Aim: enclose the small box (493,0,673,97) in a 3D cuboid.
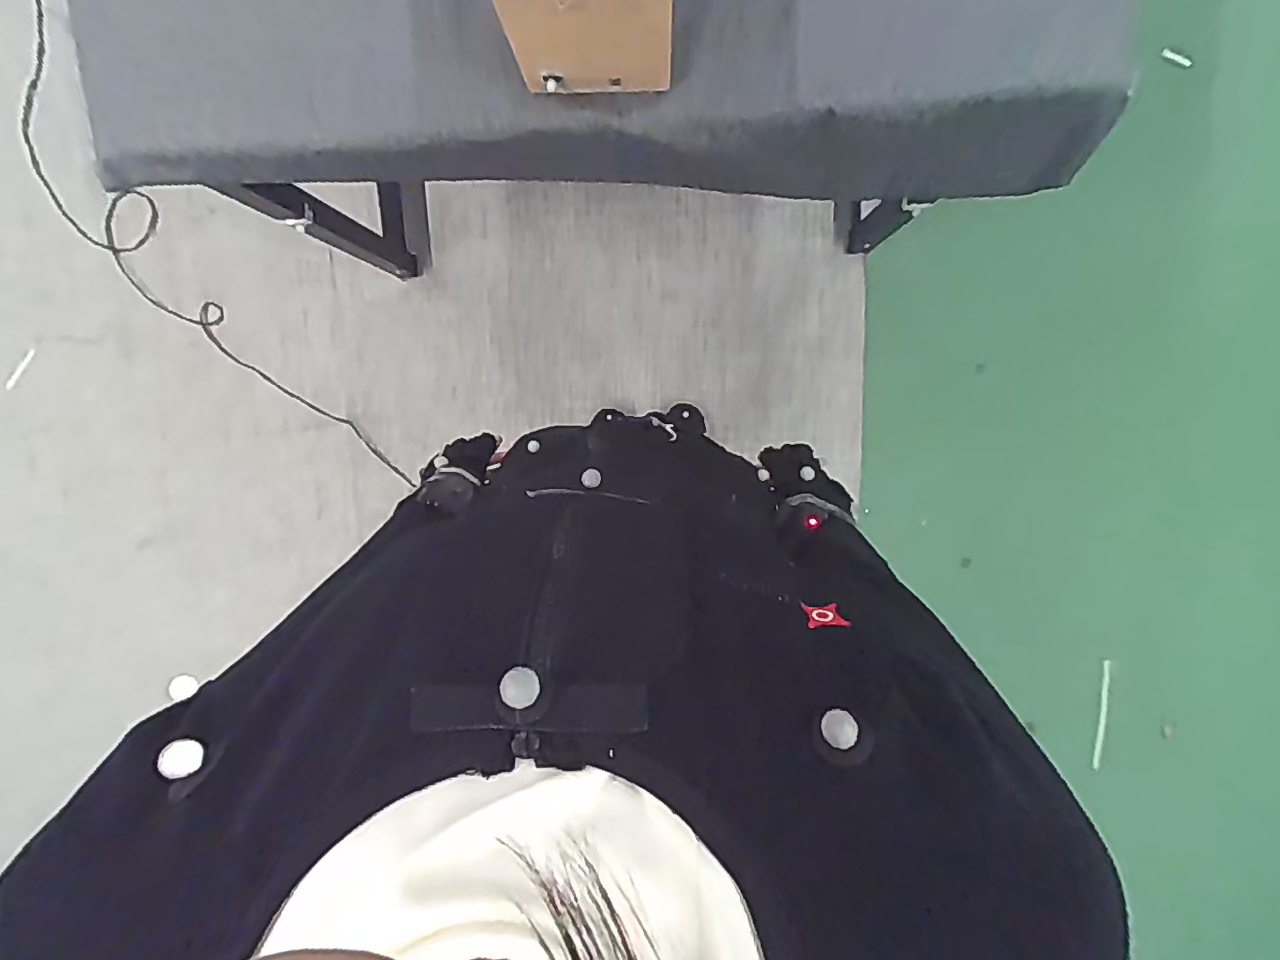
[{"bbox_3d":[-0.048,-0.527,0.552,0.168,0.176,0.179,2,96,1],"label":"small box"}]
